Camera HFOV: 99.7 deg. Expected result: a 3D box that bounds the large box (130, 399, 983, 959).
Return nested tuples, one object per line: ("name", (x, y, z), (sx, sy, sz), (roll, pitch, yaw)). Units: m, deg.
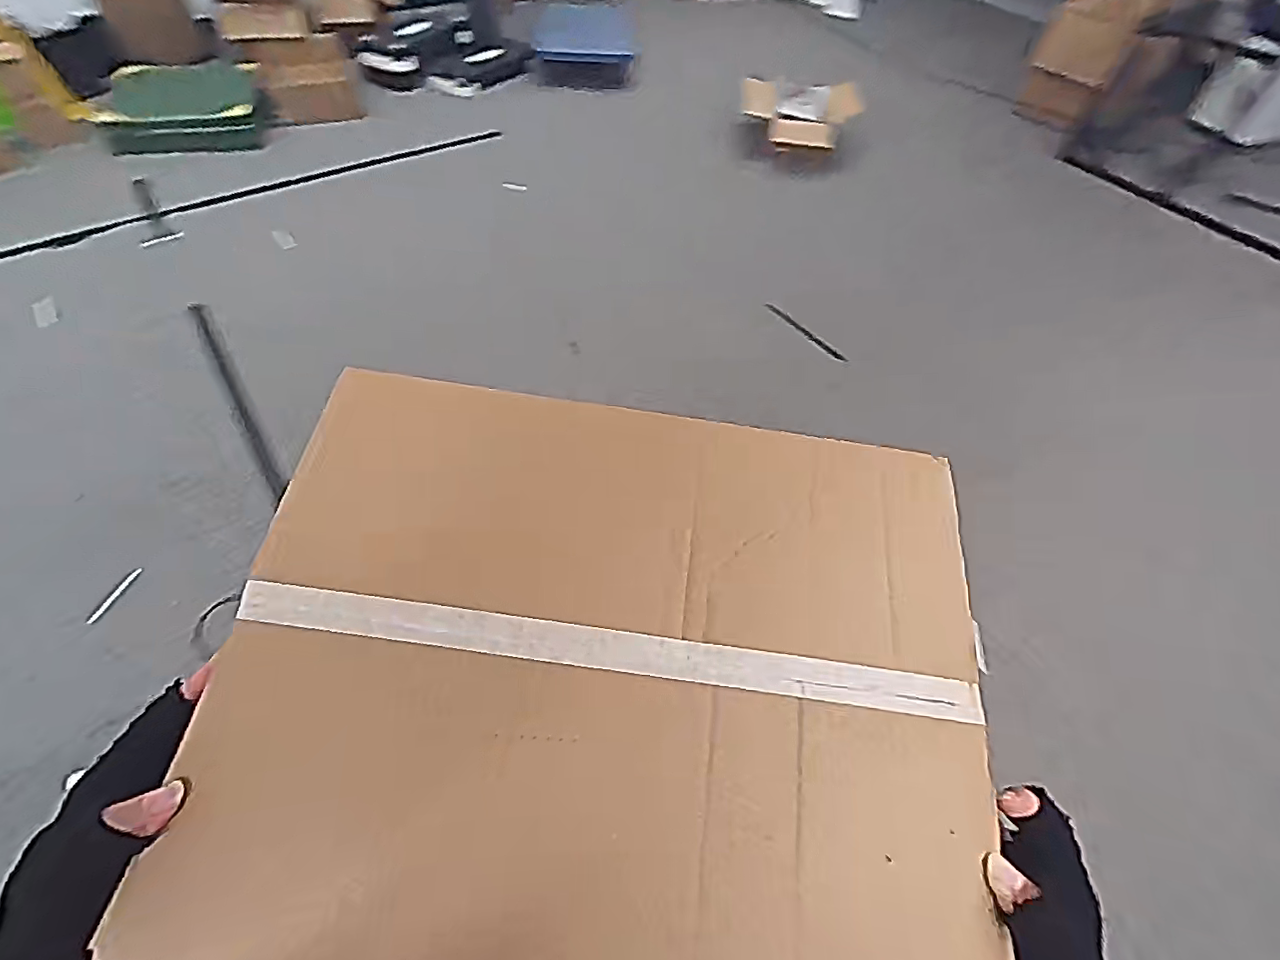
("large box", (-0.031, 0.163, 0.443), (0.408, 0.320, 0.320), (7, 66, -1))
